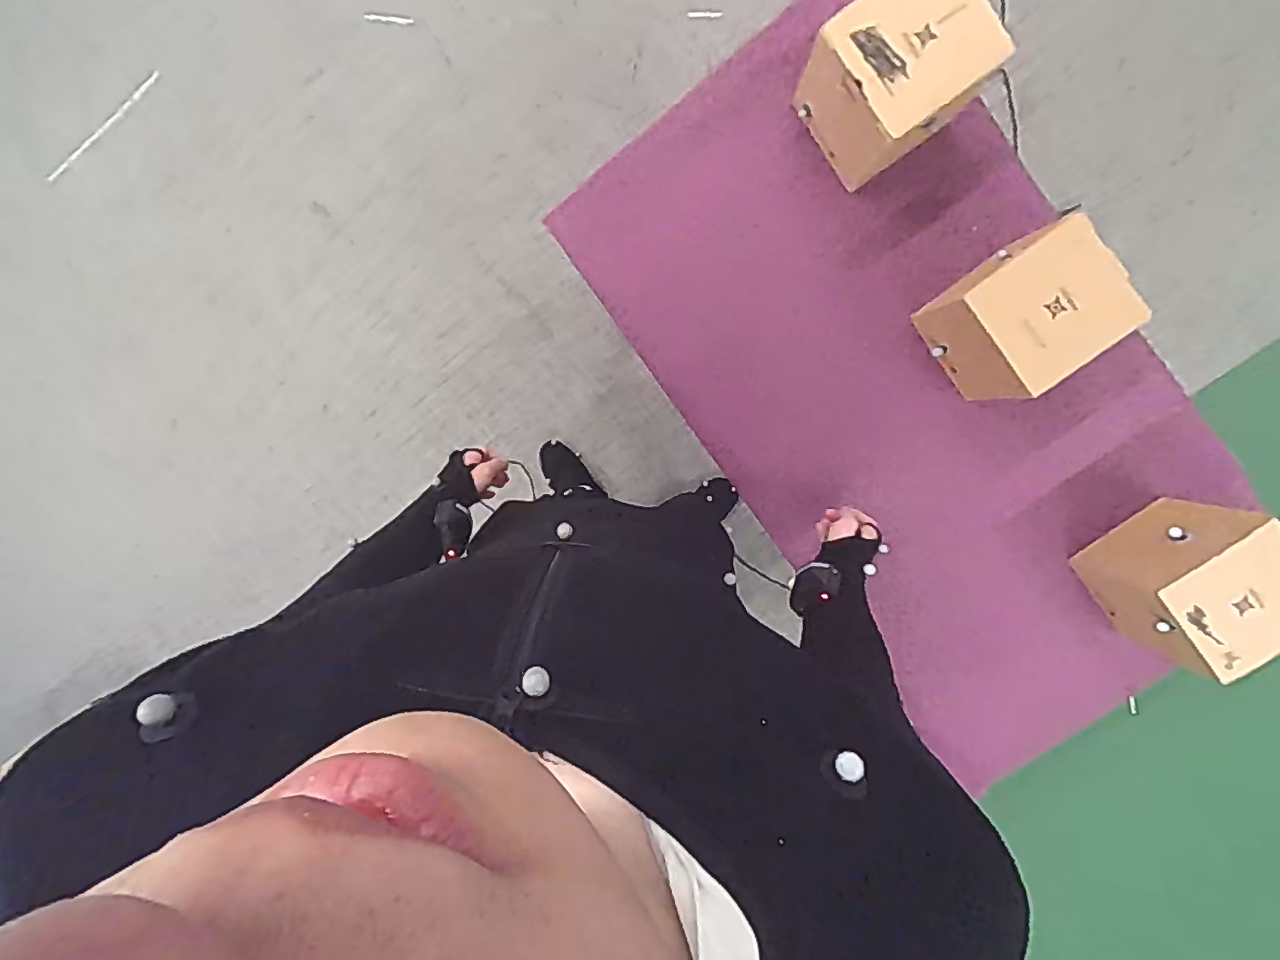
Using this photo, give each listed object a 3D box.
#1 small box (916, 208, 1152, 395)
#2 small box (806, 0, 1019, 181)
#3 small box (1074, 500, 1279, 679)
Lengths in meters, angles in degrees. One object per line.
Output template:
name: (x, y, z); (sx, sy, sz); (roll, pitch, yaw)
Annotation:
small box: (0.537, -0.237, 0.765); (0.179, 0.176, 0.168); (-36, 93, 7)
small box: (0.346, -0.549, 0.732); (0.179, 0.176, 0.168); (-34, 95, 7)
small box: (0.810, 0.147, 0.797); (0.179, 0.176, 0.168); (-37, 93, 6)
